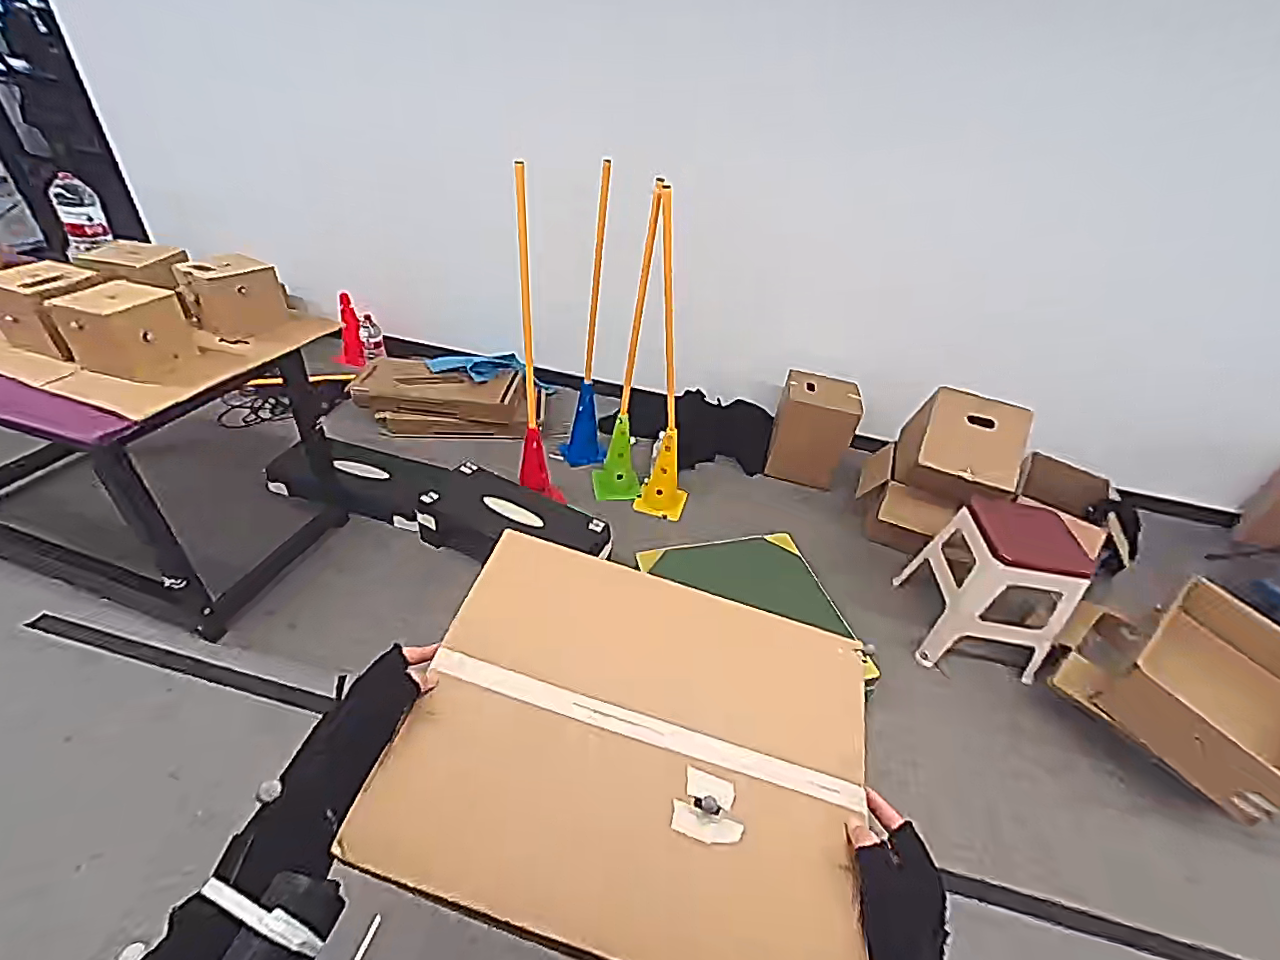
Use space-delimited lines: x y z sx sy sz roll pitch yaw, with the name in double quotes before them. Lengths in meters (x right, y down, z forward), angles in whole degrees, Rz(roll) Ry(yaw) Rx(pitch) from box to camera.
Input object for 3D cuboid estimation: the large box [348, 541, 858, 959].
"large box" -0.022 0.324 0.606 0.408 0.320 0.320 17 49 3
